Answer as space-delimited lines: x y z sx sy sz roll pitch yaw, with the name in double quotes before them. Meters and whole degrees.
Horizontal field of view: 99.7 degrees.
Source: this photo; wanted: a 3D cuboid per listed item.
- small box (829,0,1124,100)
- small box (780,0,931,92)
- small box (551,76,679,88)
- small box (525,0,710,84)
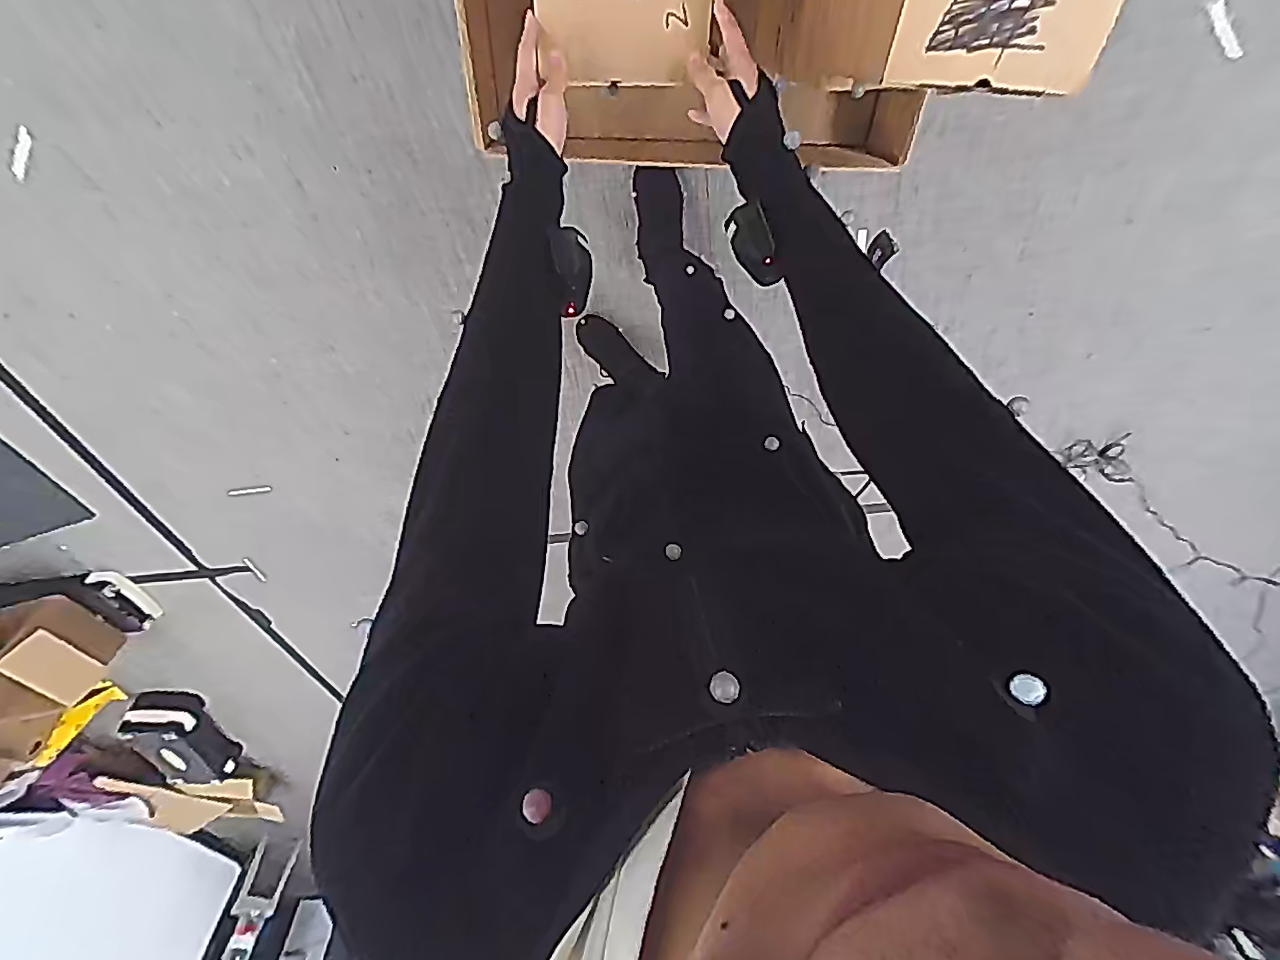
"small box" 0.268 -0.421 0.429 0.168 0.176 0.179 1 129 -3
"small box" 0.263 -0.515 0.566 0.179 0.176 0.168 -2 130 -1
"small box" -0.032 -0.615 0.689 0.168 0.176 0.179 -2 129 -2
"small box" -0.022 -0.516 0.557 0.179 0.176 0.168 0 129 -3
